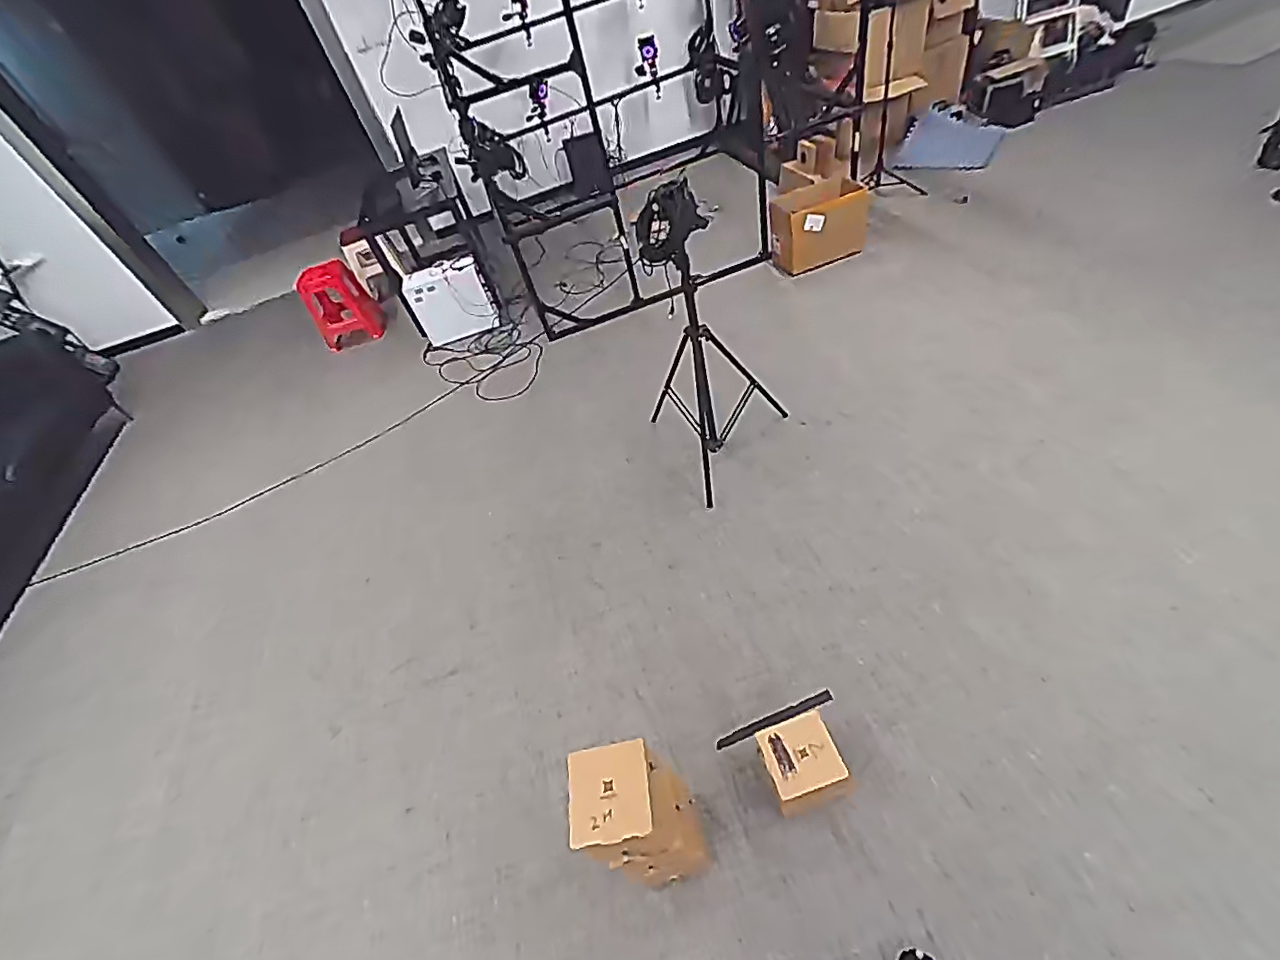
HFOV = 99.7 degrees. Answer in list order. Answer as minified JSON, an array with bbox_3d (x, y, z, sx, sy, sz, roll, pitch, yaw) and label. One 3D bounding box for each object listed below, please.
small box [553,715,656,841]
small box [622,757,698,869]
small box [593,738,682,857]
[{"bbox_3d":[-0.071,0.606,1.098,0.168,0.176,0.179,-14,47,5],"label":"small box"},{"bbox_3d":[0.032,0.818,1.325,0.168,0.176,0.179,-20,46,-1],"label":"small box"},{"bbox_3d":[-0.015,0.713,1.211,0.168,0.176,0.179,-18,47,1],"label":"small box"}]
